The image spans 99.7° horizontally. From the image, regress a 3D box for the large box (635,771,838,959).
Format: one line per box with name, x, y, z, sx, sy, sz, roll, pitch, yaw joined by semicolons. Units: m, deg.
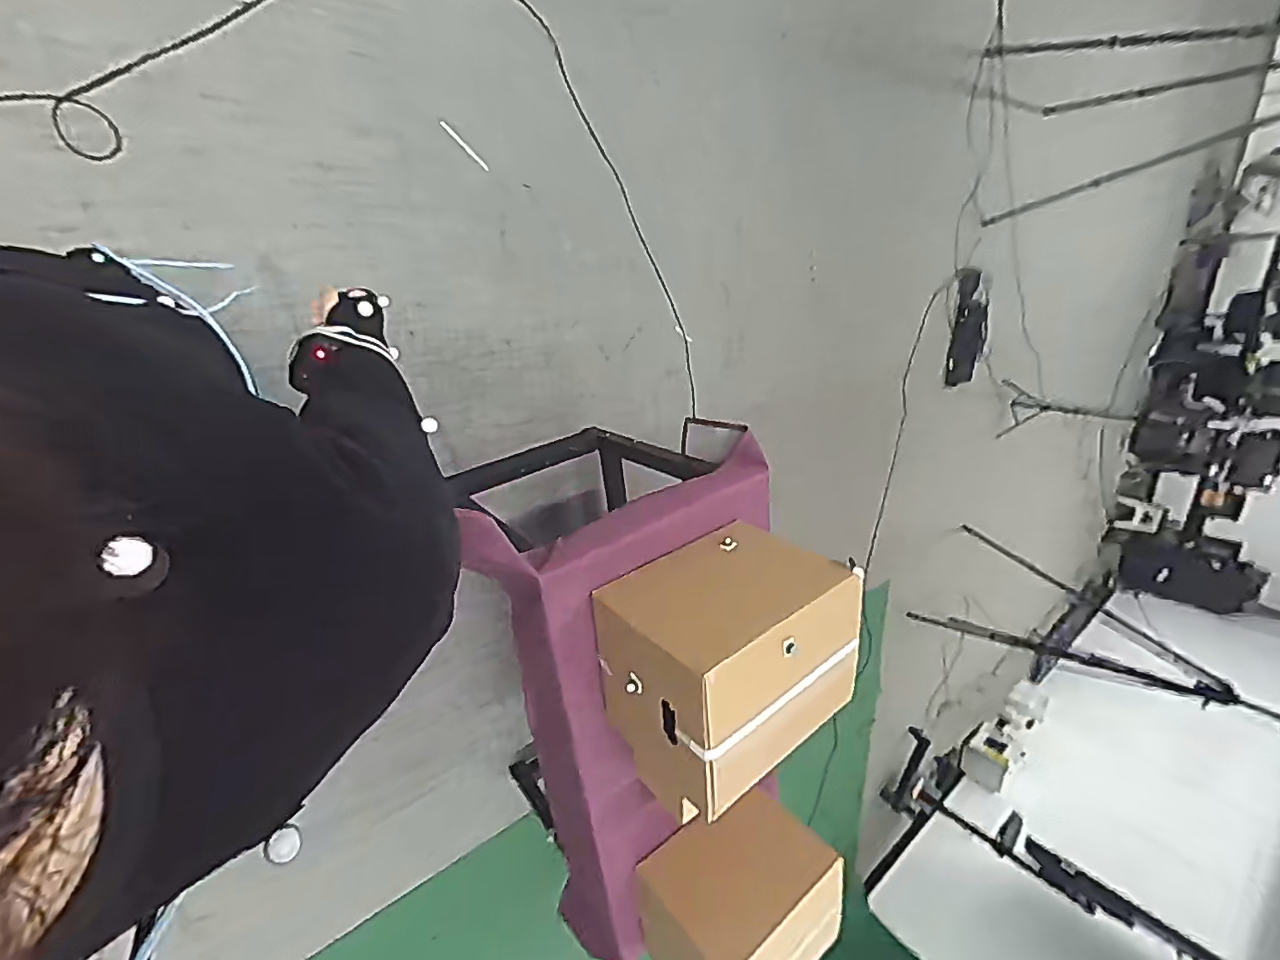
large box;0.244;1.050;1.370;0.408;0.320;0.320;-19;115;-32
